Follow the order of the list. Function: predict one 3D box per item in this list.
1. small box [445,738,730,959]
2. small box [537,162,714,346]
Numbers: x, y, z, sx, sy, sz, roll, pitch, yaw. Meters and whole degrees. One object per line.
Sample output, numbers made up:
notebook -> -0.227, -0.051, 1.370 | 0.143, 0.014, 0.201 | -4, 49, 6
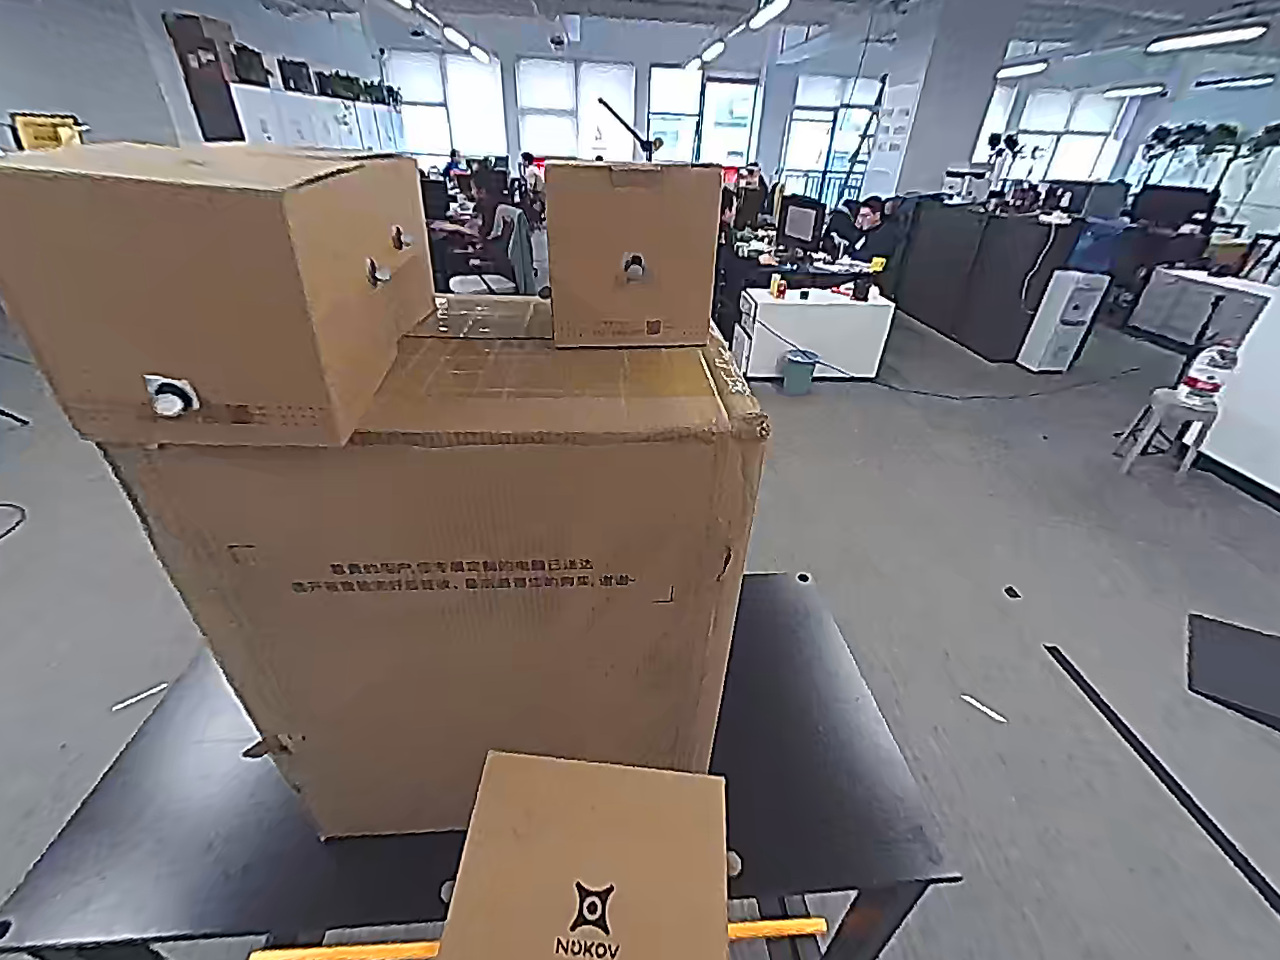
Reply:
small box -> -0.033, 0.309, 0.386 | 0.168, 0.176, 0.179 | 6, 49, 0
small box -> -0.019, -0.252, 0.601 | 0.168, 0.176, 0.179 | -3, 32, -6
